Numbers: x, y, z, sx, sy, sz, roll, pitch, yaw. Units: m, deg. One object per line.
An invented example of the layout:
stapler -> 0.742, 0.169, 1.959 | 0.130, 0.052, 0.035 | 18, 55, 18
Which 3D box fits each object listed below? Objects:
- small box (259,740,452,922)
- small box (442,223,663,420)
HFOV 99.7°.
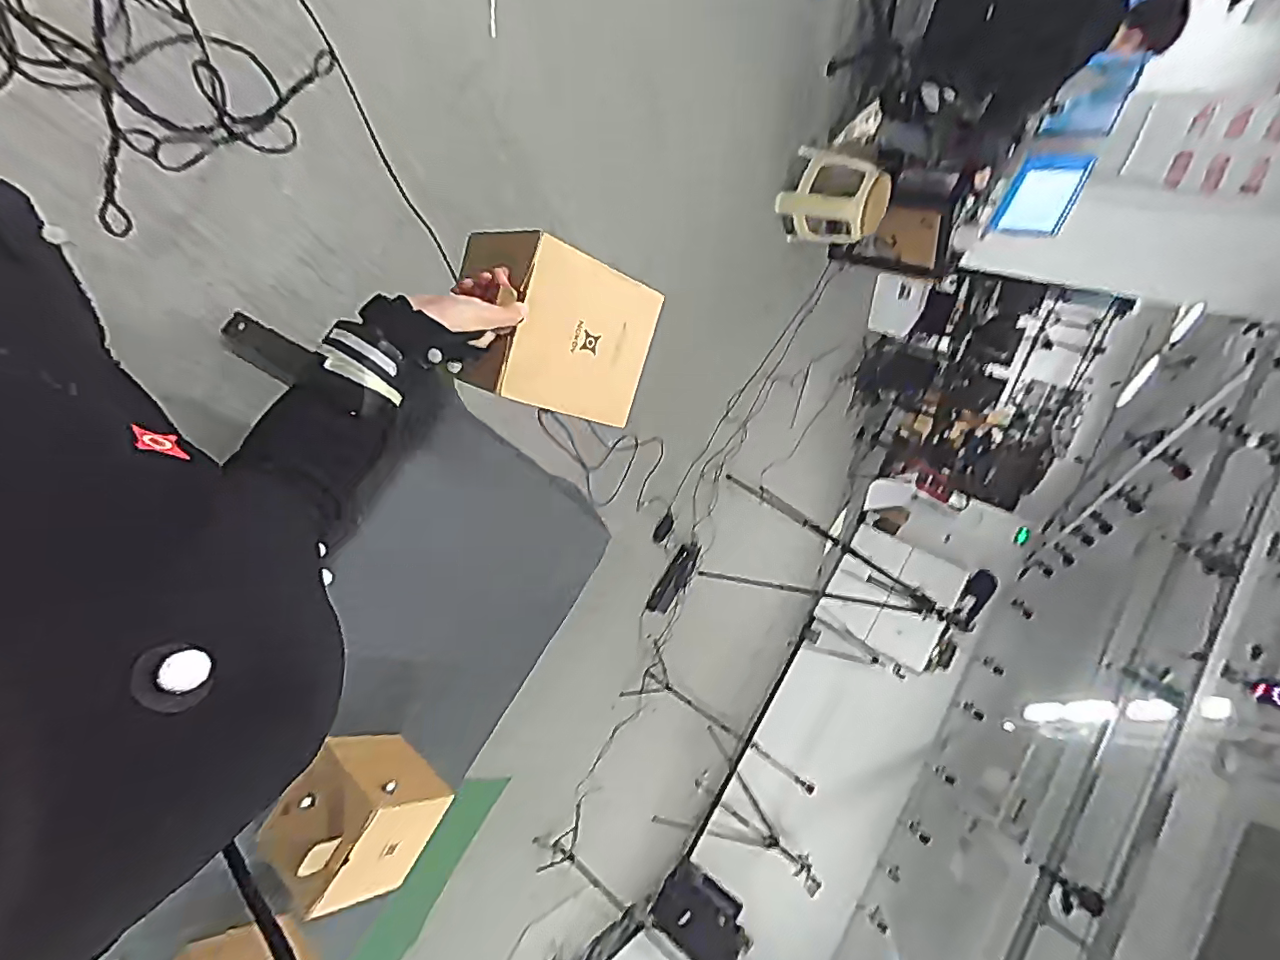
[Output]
small box -> -0.450, 0.539, 0.865 | 0.168, 0.176, 0.179 | -58, 150, -9
small box -> -0.108, -0.182, 0.637 | 0.179, 0.176, 0.168 | 8, 103, -45
